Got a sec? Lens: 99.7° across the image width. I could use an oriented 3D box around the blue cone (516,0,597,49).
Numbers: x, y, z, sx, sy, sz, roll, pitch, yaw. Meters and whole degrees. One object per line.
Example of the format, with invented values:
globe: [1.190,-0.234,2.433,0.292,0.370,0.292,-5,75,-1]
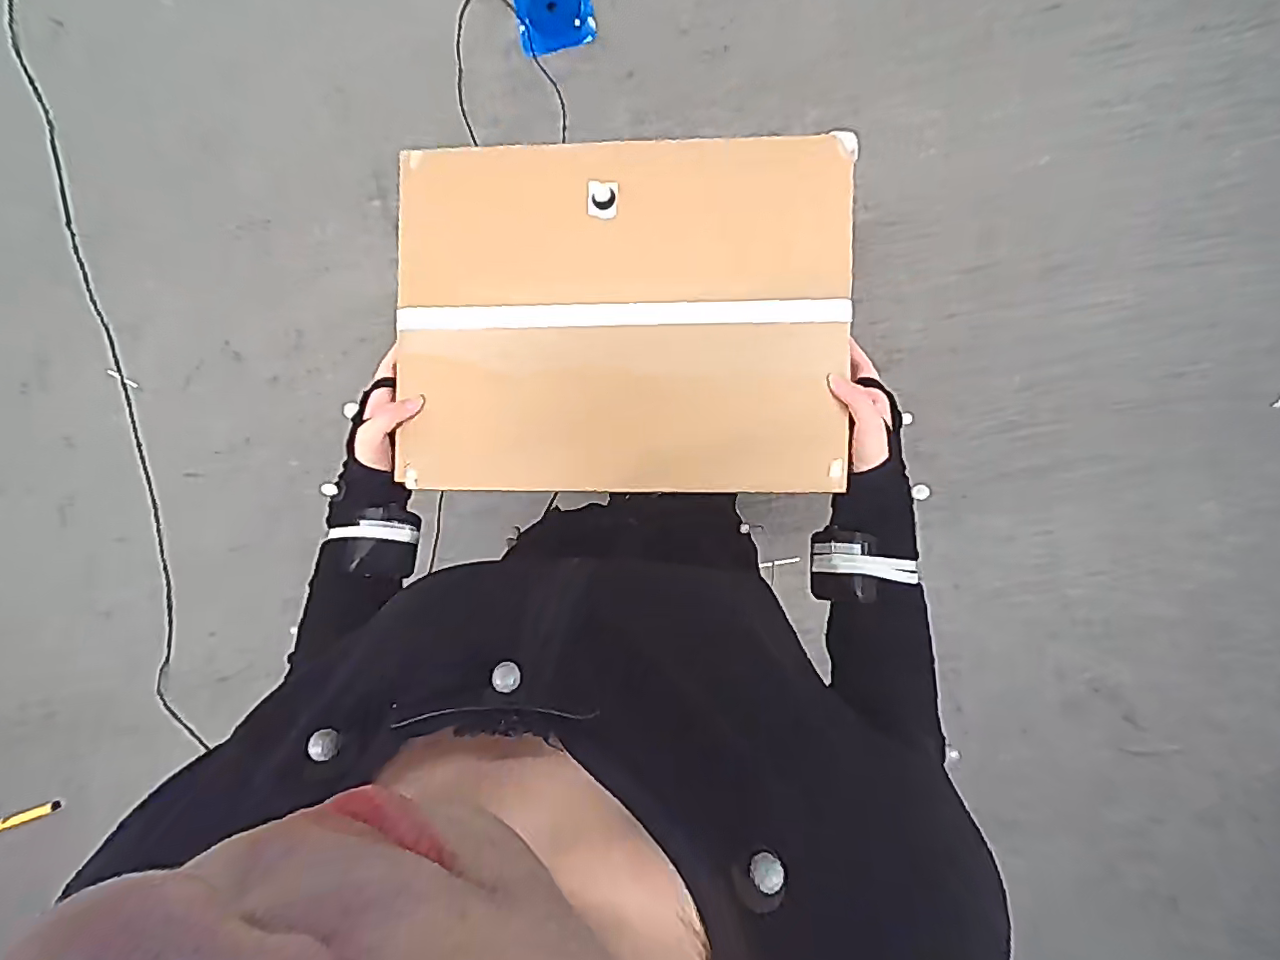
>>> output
blue cone: [-0.222,-1.203,1.214,0.193,0.380,0.192,-13,95,2]
